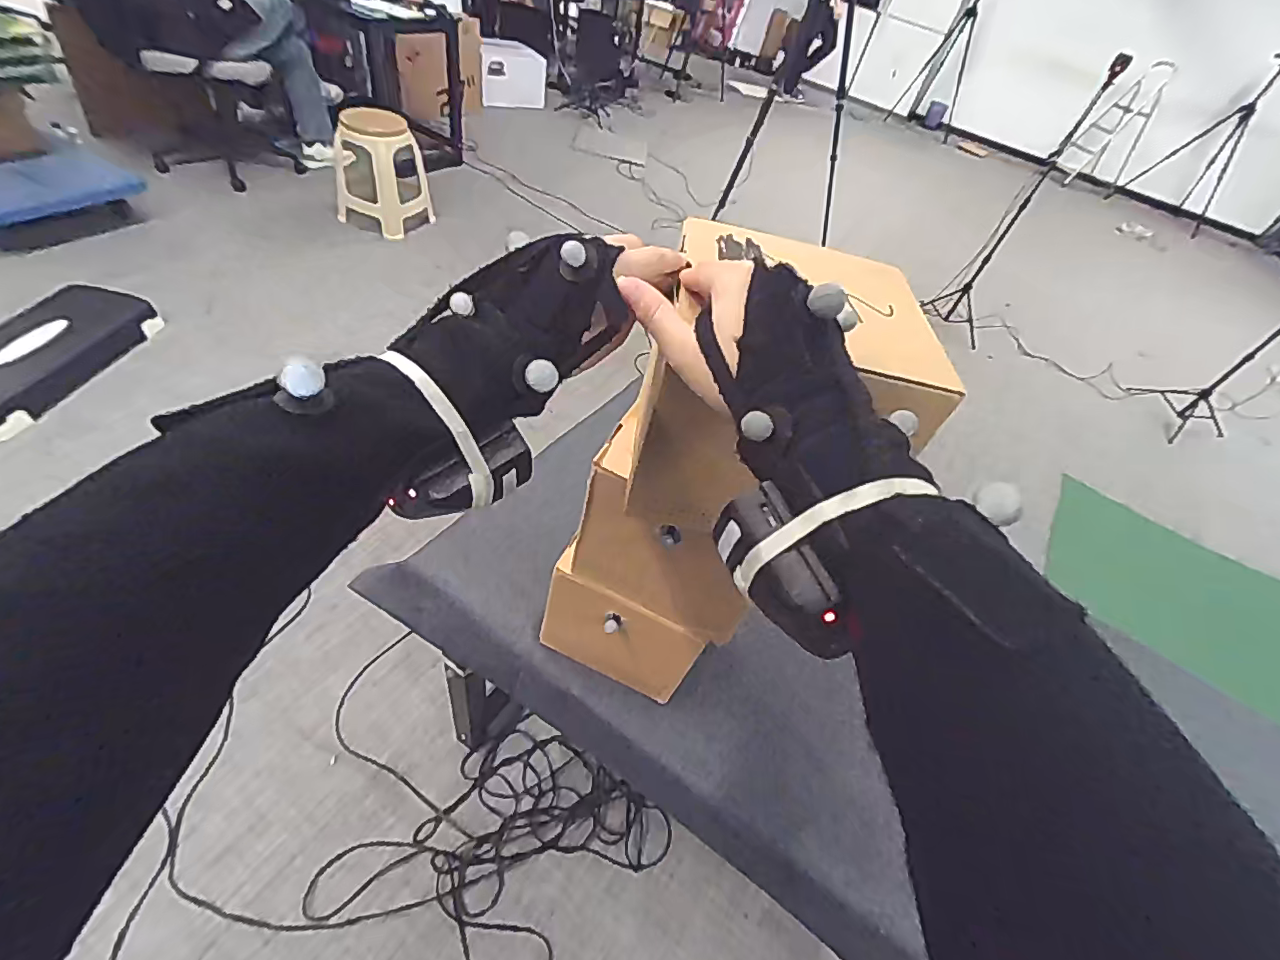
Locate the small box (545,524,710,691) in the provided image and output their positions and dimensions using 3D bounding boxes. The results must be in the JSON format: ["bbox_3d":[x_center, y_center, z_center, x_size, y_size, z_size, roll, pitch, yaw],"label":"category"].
[{"bbox_3d":[0.002,0.129,0.658,0.179,0.176,0.168,24,46,8],"label":"small box"}]

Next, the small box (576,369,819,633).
[{"bbox_3d":[0.051,0.024,0.544,0.179,0.176,0.168,25,47,7],"label":"small box"}]
